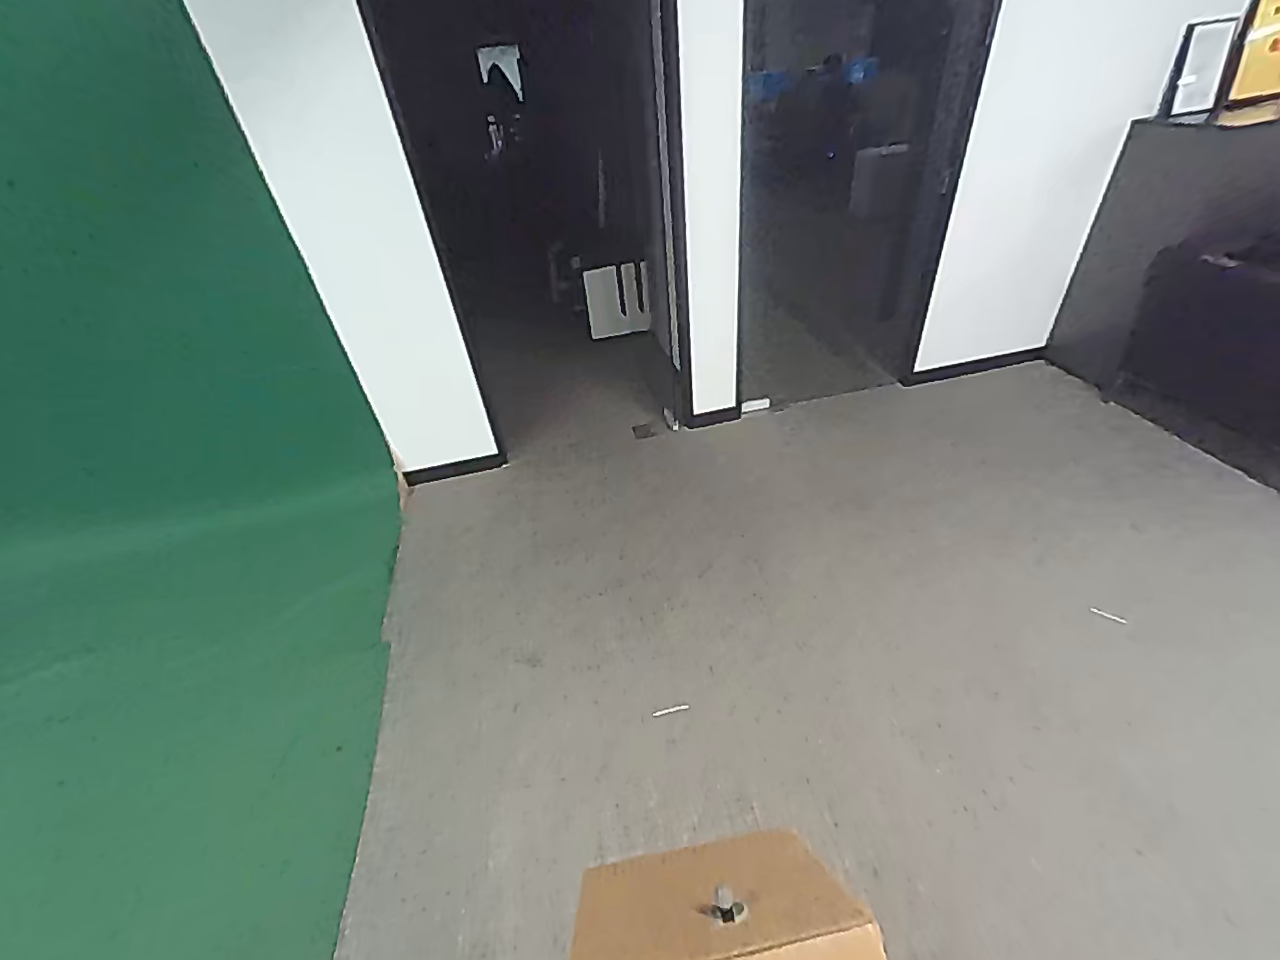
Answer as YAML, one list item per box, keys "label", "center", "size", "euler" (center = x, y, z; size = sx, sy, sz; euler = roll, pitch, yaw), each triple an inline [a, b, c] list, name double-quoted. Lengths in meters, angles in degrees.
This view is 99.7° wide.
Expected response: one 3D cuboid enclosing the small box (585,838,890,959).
- label: "small box"
  center: [0.059, 0.360, 0.347]
  size: [0.179, 0.176, 0.168]
  euler: [-9, 73, -4]
